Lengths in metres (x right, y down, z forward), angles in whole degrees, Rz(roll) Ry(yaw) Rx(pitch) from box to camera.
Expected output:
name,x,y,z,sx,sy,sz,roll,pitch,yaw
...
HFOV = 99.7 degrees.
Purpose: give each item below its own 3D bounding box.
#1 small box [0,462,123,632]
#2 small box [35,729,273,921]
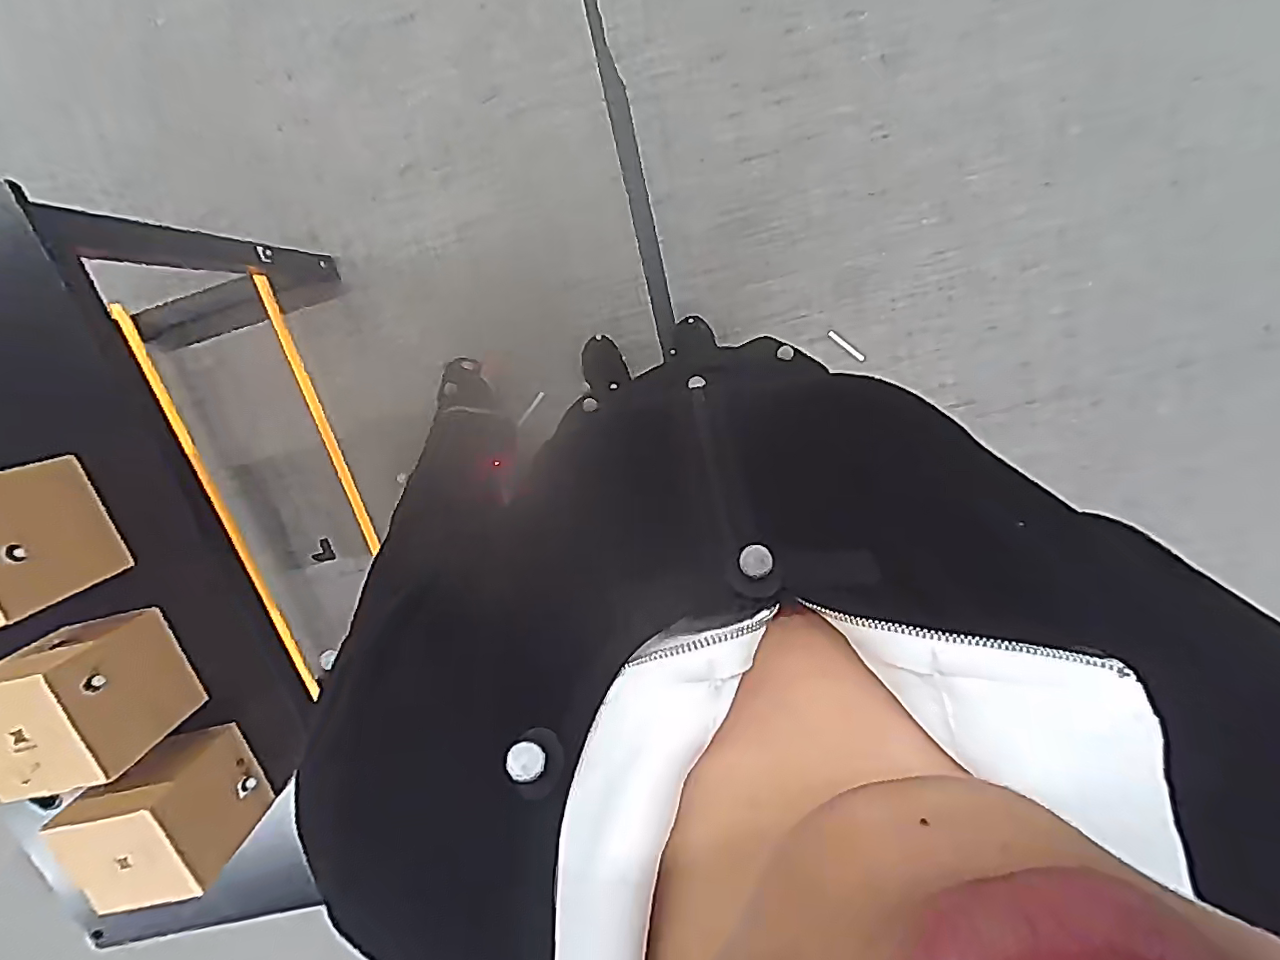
name,x,y,z,sx,sy,sz,roll,pitch,yaw
small box,-0.848,0.093,0.702,0.168,0.176,0.179,-14,105,5
small box,-0.722,0.518,0.828,0.179,0.176,0.168,-15,107,4
